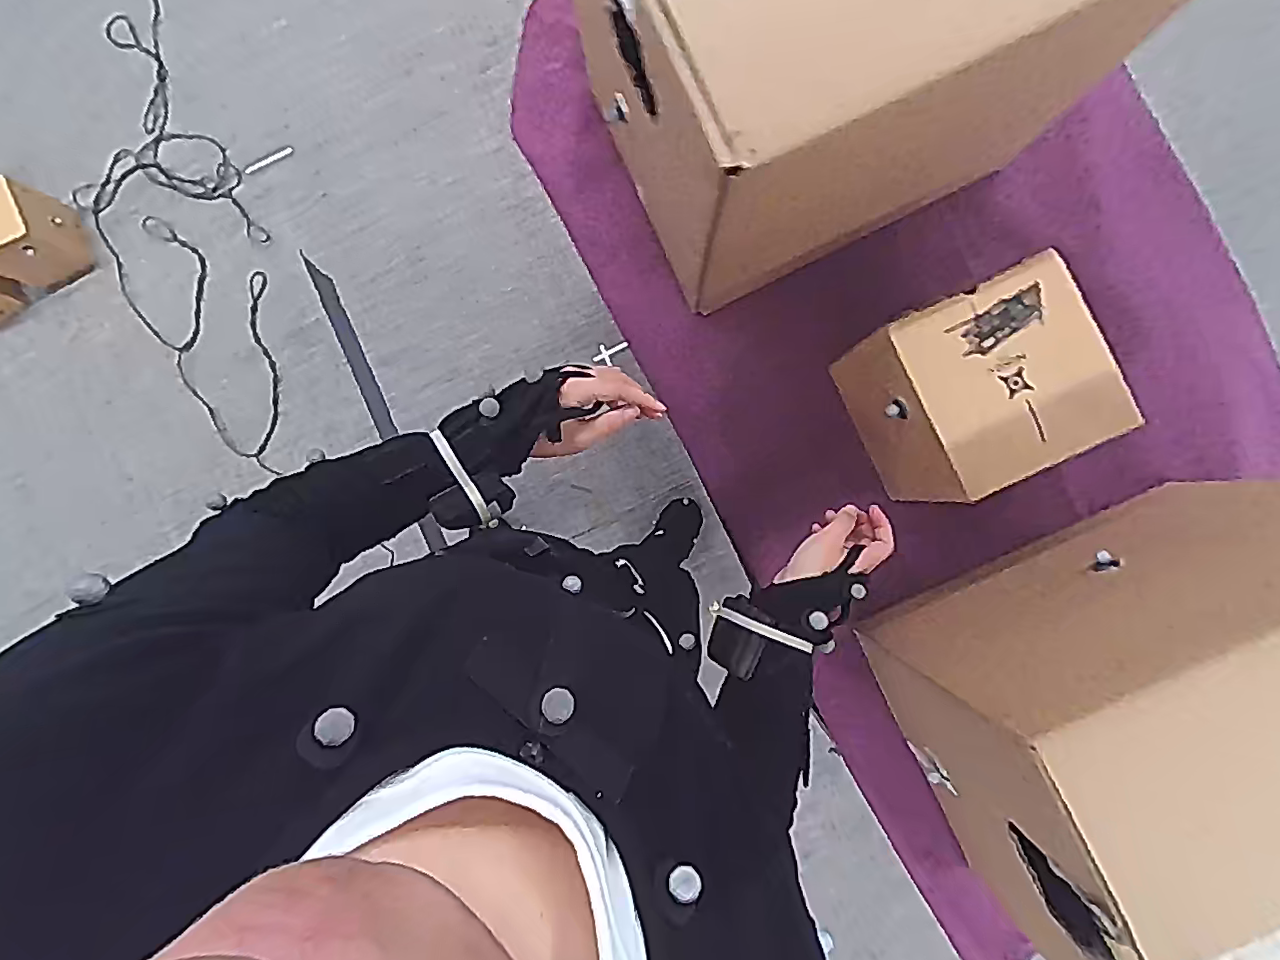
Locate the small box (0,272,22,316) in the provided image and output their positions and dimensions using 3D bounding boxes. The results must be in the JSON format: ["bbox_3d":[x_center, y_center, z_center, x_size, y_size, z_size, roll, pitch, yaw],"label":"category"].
[{"bbox_3d":[-1.780,-0.518,1.385,0.168,0.176,0.179,-32,88,2],"label":"small box"}]

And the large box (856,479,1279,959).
[{"bbox_3d":[0.482,0.218,0.465,0.408,0.320,0.320,-26,88,0],"label":"large box"}]

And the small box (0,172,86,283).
[{"bbox_3d":[-1.577,-0.633,1.375,0.179,0.176,0.168,-24,87,3],"label":"small box"}]
